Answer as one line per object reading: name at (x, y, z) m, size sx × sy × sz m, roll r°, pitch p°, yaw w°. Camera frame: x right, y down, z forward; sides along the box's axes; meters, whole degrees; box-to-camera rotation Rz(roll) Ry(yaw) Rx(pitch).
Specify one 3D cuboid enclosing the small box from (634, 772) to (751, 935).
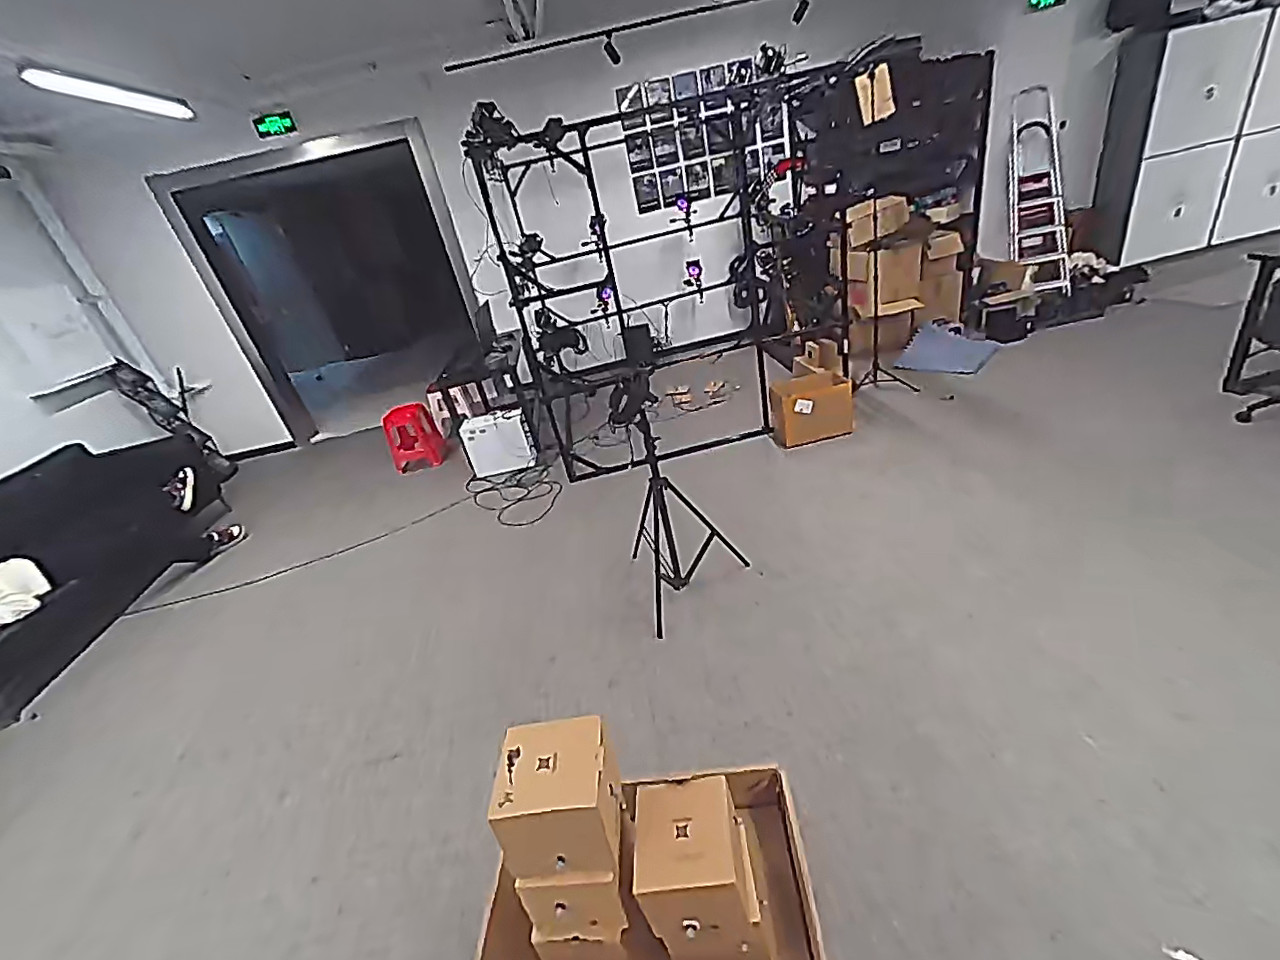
small box at (0.093, 0.652, 0.949) m, size 0.168 × 0.176 × 0.179 m, roll -12°, pitch 27°, yaw 9°

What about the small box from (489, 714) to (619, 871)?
small box at (-0.133, 0.532, 0.925) m, size 0.179 × 0.176 × 0.168 m, roll -8°, pitch 27°, yaw 4°

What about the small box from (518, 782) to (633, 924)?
small box at (-0.107, 0.680, 0.992) m, size 0.168 × 0.176 × 0.179 m, roll -8°, pitch 27°, yaw 5°
